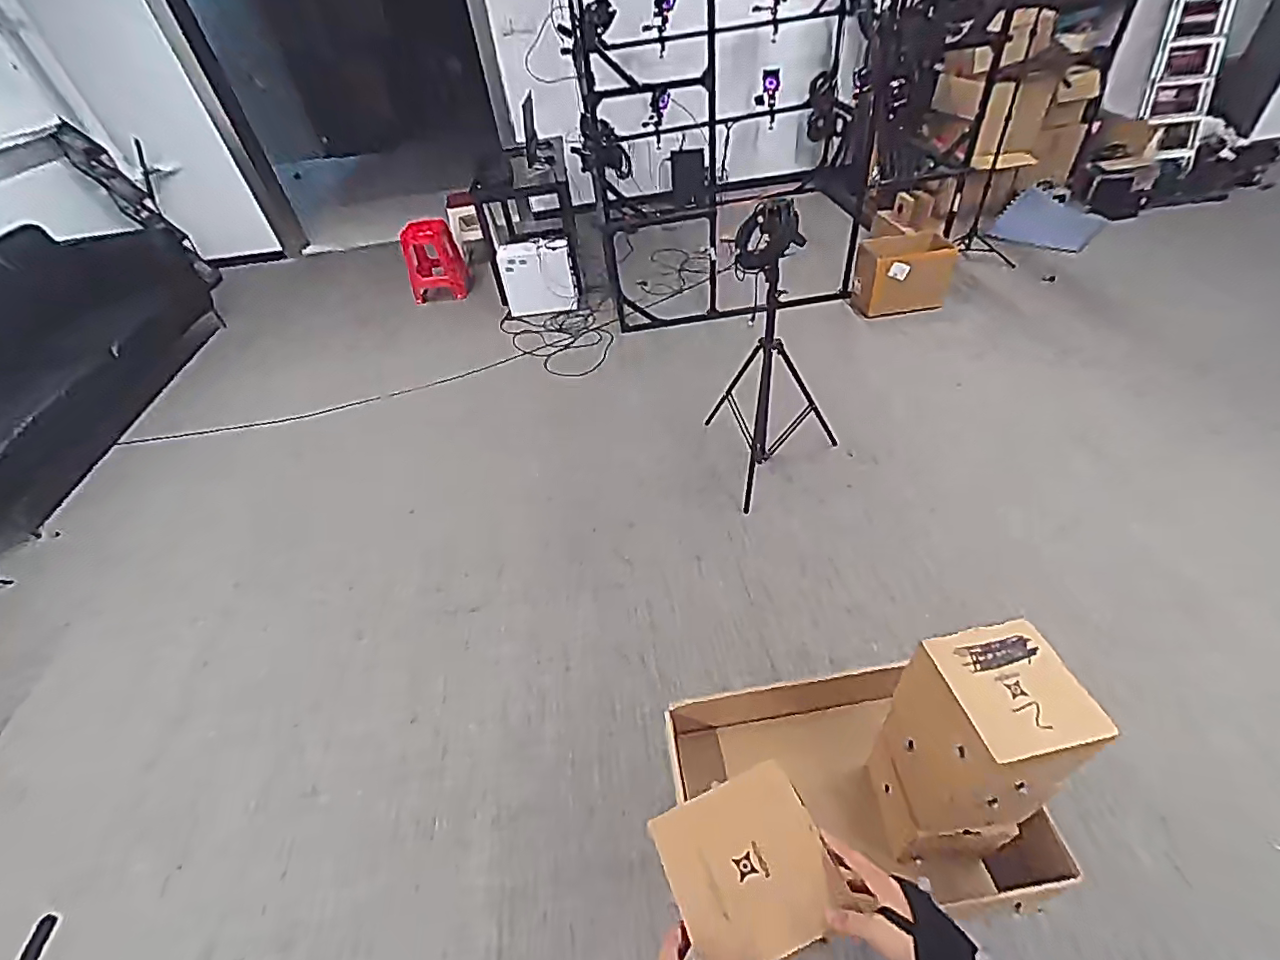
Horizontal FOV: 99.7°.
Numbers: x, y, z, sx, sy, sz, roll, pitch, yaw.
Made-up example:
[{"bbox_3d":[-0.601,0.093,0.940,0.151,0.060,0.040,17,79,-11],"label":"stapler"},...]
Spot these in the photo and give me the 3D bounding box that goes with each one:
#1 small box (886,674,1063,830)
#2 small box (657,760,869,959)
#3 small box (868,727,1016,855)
[{"bbox_3d":[0.530,0.448,0.892,0.168,0.176,0.179,-7,42,1],"label":"small box"},{"bbox_3d":[0.137,0.472,0.648,0.179,0.176,0.168,-23,48,-8],"label":"small box"},{"bbox_3d":[0.541,0.574,0.998,0.168,0.176,0.179,-4,42,3],"label":"small box"}]
